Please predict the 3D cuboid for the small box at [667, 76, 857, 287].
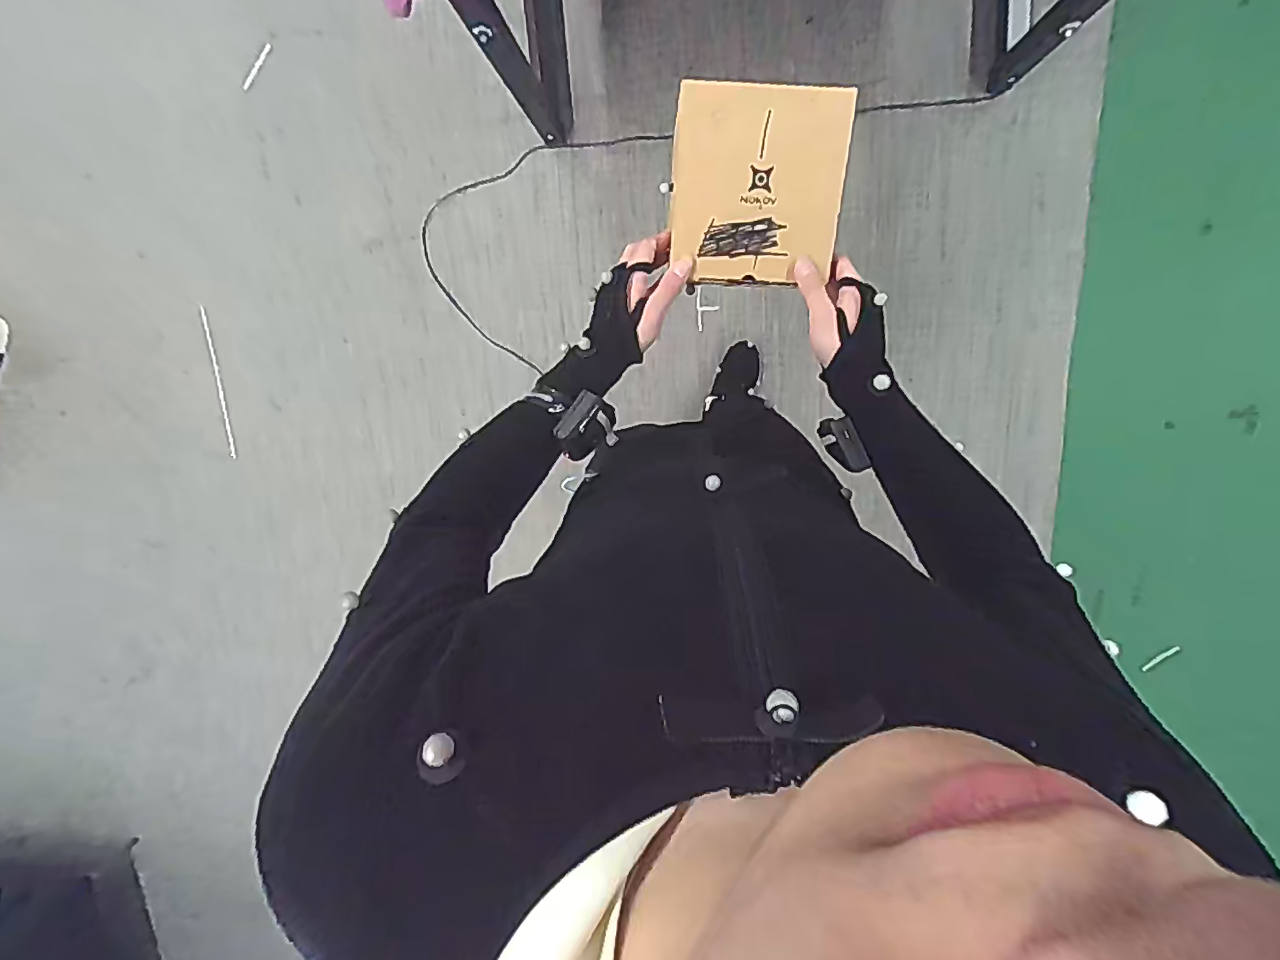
[{"bbox_3d":[0.118,-0.311,0.600,0.168,0.176,0.179,3,108,0],"label":"small box"}]
